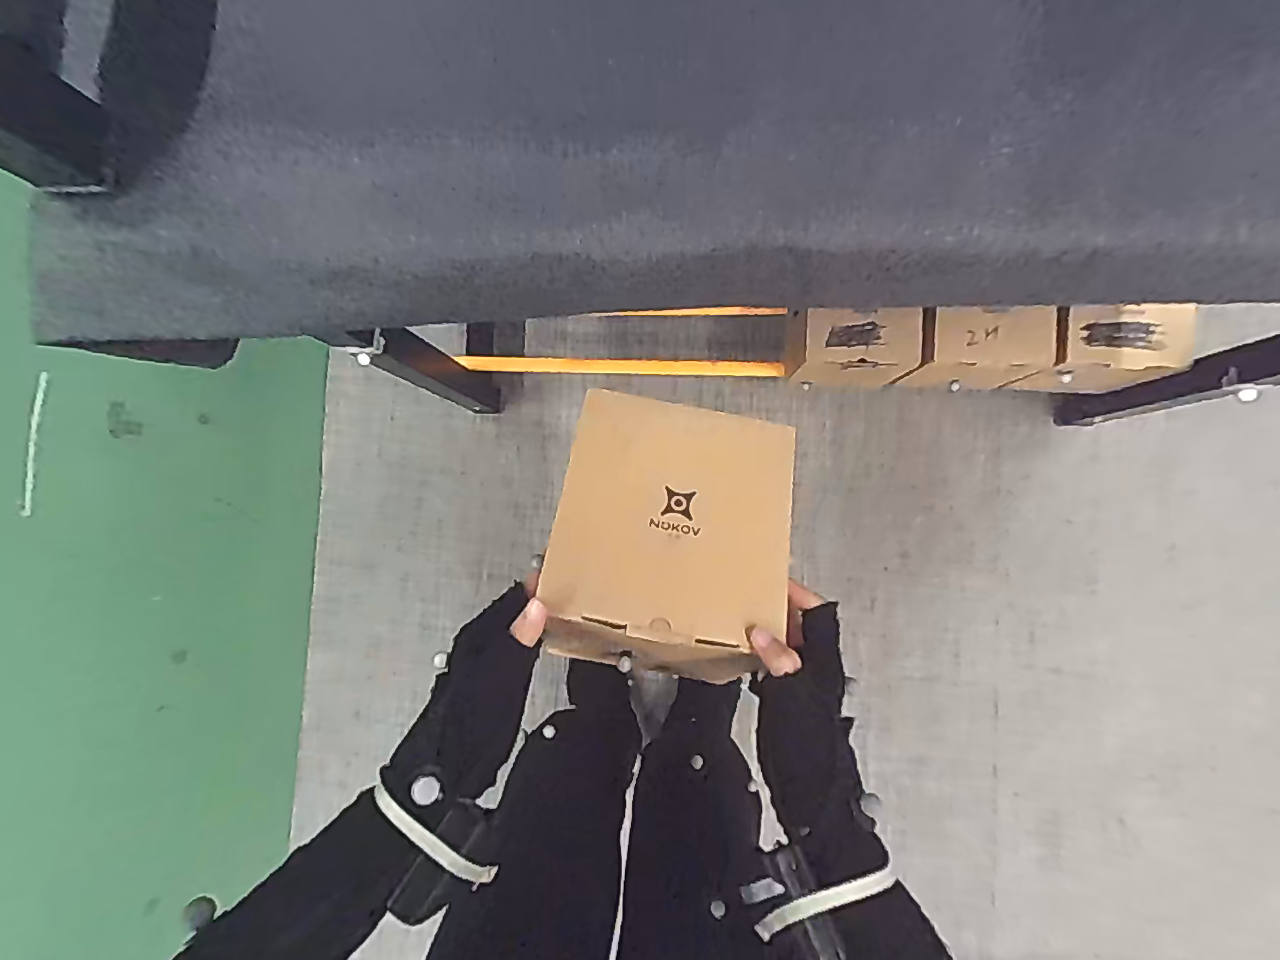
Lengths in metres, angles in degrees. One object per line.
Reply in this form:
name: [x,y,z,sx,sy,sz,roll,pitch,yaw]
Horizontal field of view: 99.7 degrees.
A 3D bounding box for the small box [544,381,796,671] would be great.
small box: [0.021,0.048,0.456,0.168,0.176,0.179,10,63,-1]
